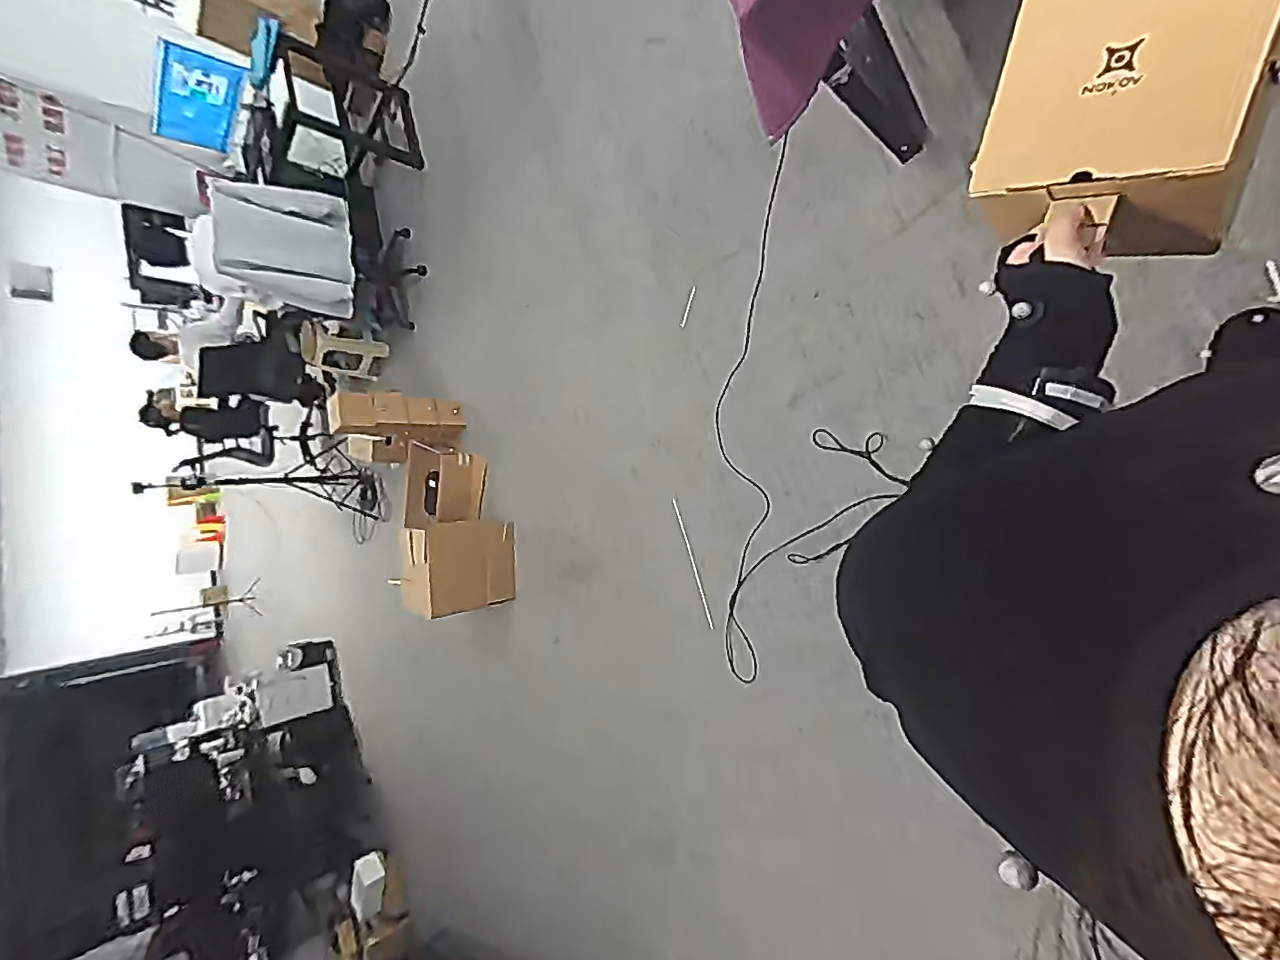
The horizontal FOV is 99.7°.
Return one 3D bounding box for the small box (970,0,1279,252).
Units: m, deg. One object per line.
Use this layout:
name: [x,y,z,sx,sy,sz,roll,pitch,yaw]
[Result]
small box: [0.423,-0.318,0.472,0.168,0.176,0.179,21,102,44]
